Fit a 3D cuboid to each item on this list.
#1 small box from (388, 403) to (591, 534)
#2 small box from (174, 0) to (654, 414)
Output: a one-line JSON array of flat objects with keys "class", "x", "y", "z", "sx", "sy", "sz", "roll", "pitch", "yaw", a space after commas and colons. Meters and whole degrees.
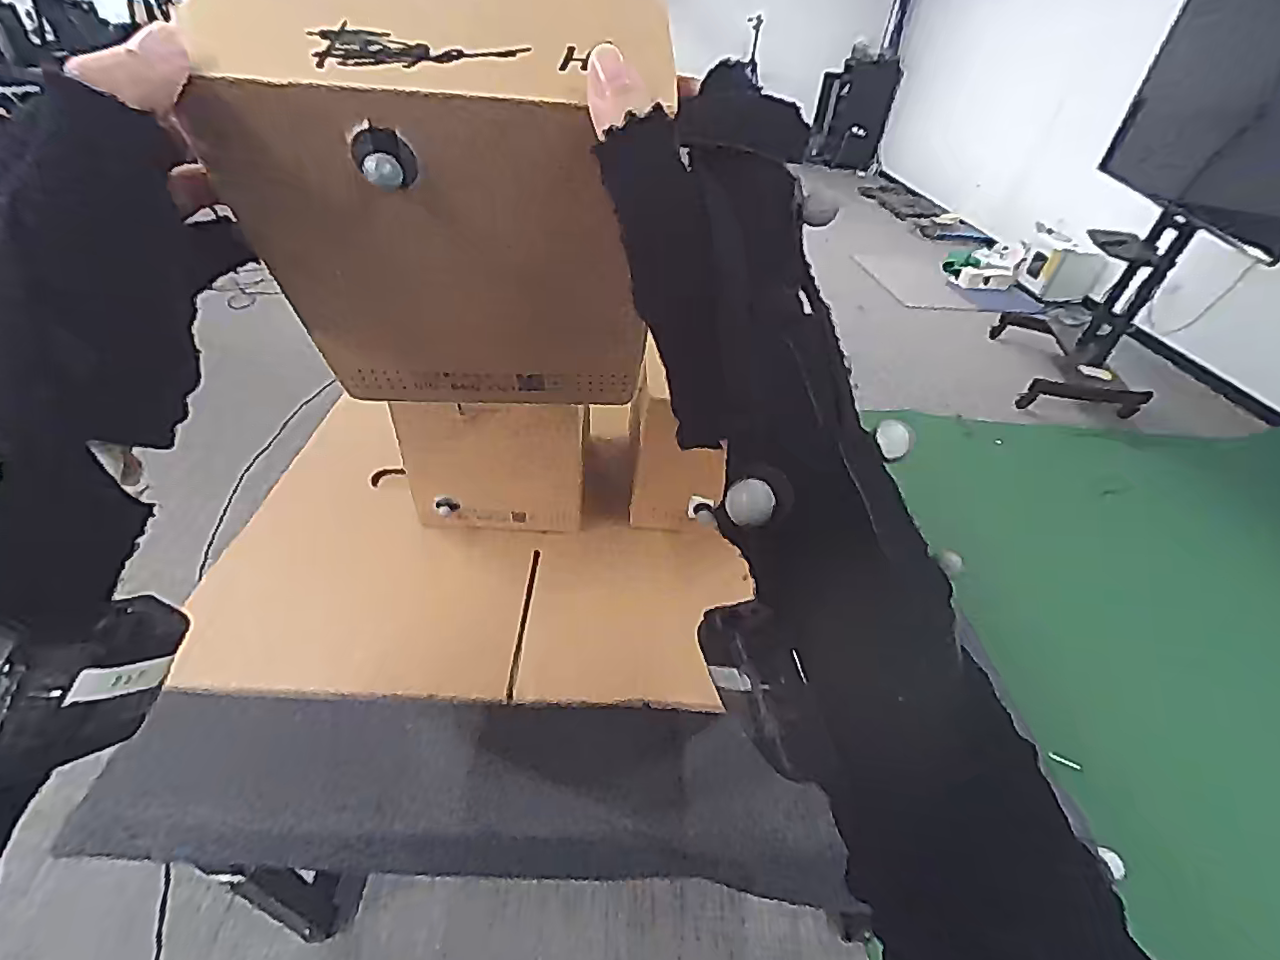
[{"class": "small box", "x": -0.140, "y": -0.059, "z": 0.578, "sx": 0.168, "sy": 0.176, "sz": 0.179, "roll": 4, "pitch": 40, "yaw": -3}, {"class": "small box", "x": -0.086, "y": -0.158, "z": 0.298, "sx": 0.168, "sy": 0.176, "sz": 0.179, "roll": 0, "pitch": 61, "yaw": -6}]
